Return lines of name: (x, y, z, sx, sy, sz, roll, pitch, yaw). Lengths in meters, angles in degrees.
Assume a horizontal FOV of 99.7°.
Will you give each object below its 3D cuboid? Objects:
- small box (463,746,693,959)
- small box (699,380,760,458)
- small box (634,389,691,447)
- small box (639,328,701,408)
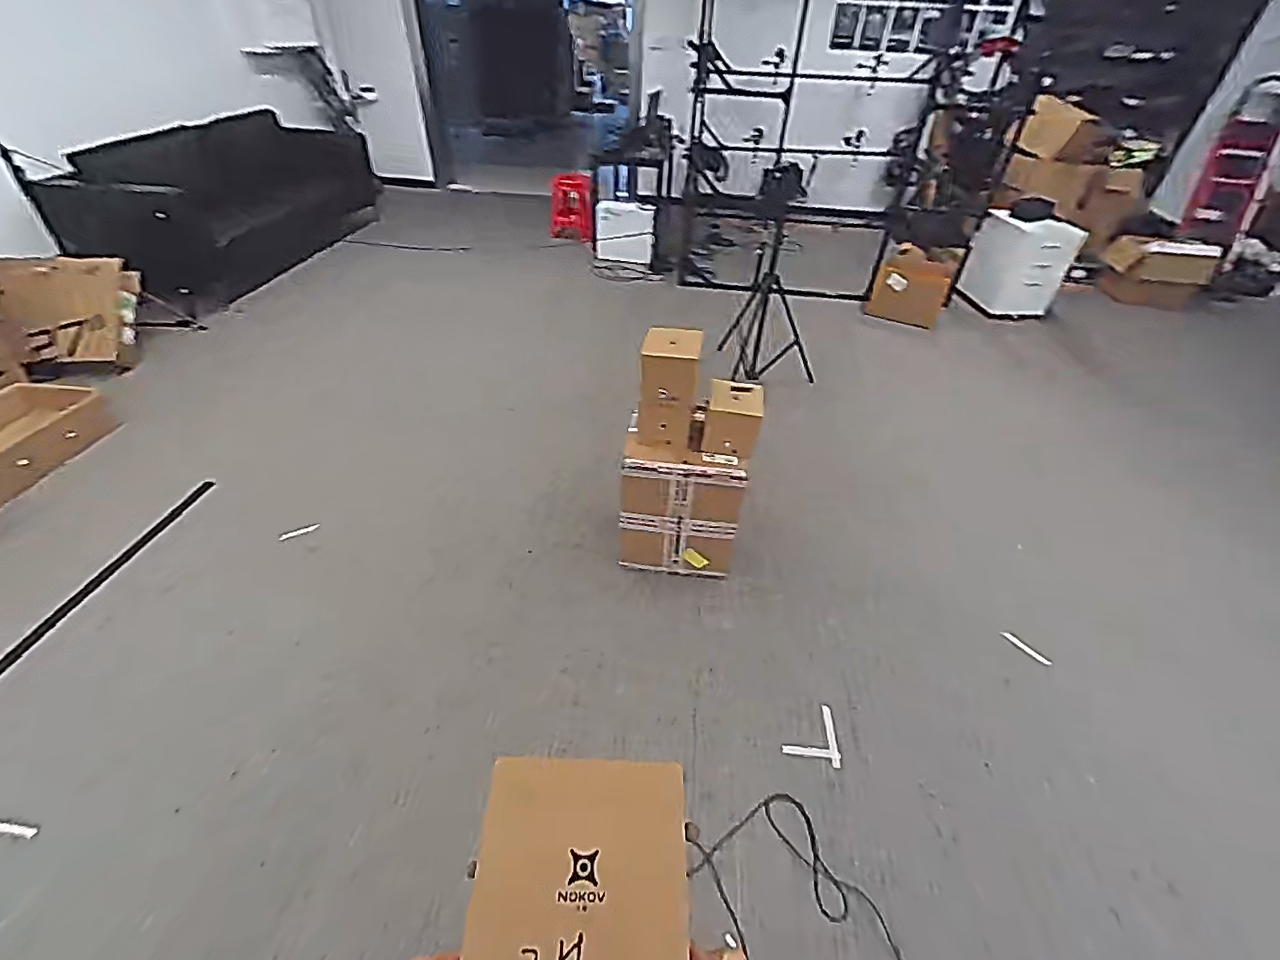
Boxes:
small box: (-0.047, 0.359, 0.475, 0.168, 0.176, 0.179, 3, 45, -1)
small box: (0.285, -0.196, 1.732, 0.168, 0.176, 0.179, 8, 42, 4)
small box: (0.078, -0.224, 1.750, 0.168, 0.176, 0.179, 6, 43, 7)
small box: (0.089, -0.340, 1.636, 0.168, 0.176, 0.179, 6, 43, 7)
